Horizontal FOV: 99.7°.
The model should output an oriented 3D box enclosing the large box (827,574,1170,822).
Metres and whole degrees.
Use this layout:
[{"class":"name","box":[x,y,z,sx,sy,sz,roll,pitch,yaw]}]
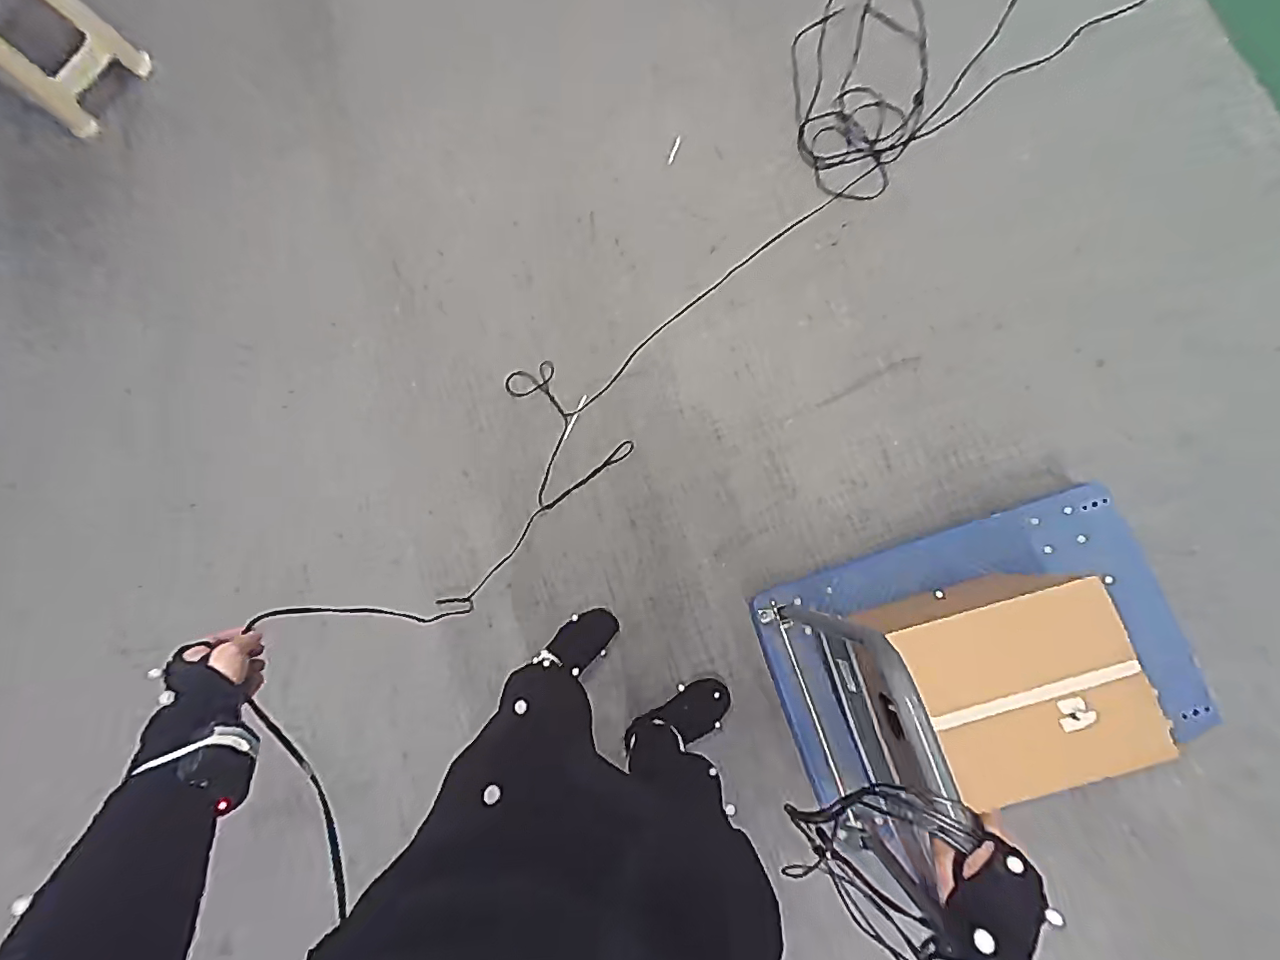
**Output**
[{"class":"large box","box":[0.645,0.388,1.055,0.408,0.320,0.320,-16,81,0]}]
